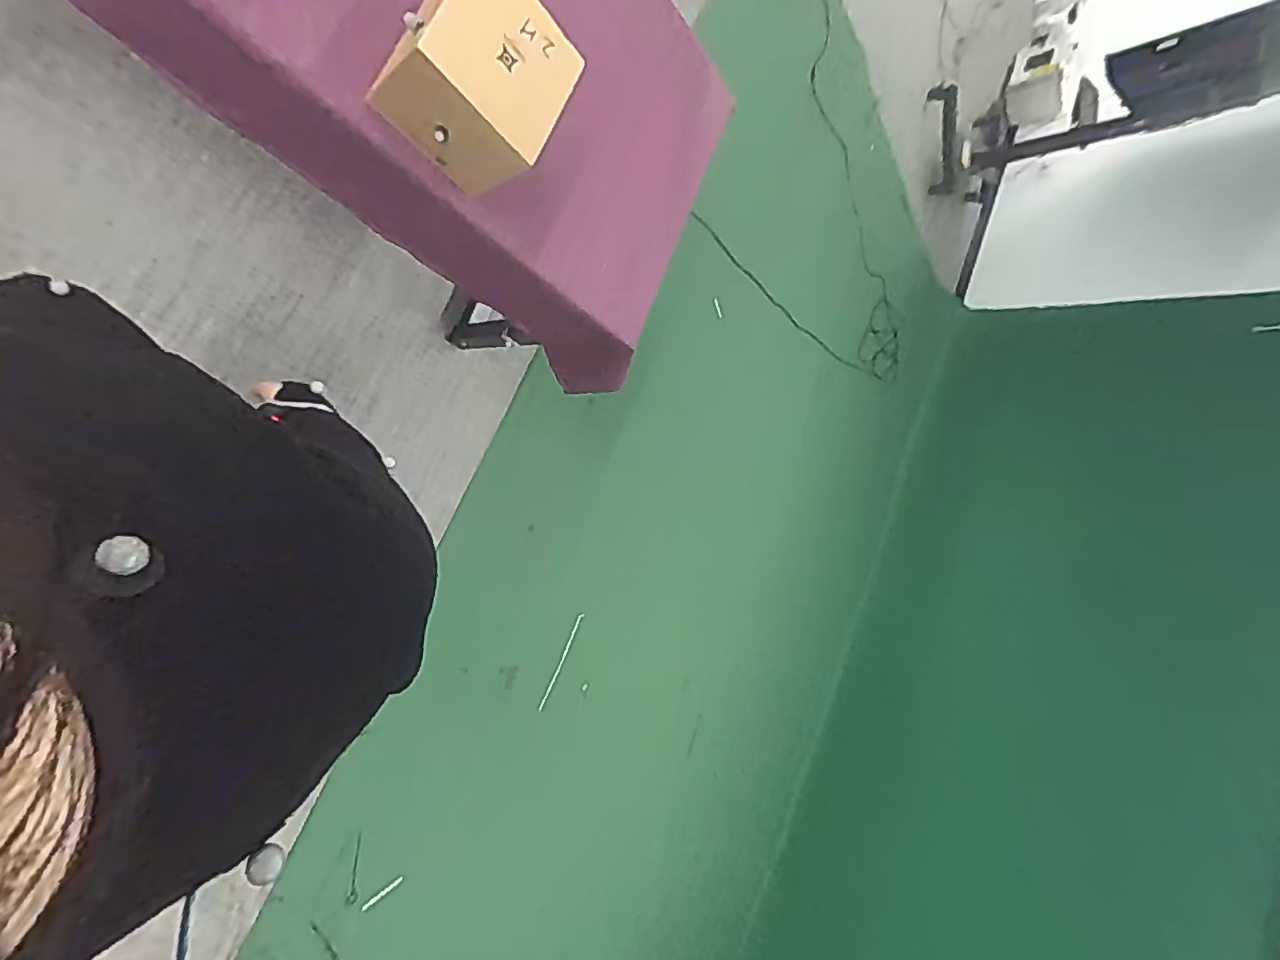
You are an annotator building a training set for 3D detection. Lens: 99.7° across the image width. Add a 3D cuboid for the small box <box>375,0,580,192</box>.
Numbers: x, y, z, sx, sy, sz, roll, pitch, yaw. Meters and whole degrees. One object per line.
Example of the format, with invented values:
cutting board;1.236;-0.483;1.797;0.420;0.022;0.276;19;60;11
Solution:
small box;-0.216;-0.515;0.704;0.168;0.176;0.179;33;75;-44
